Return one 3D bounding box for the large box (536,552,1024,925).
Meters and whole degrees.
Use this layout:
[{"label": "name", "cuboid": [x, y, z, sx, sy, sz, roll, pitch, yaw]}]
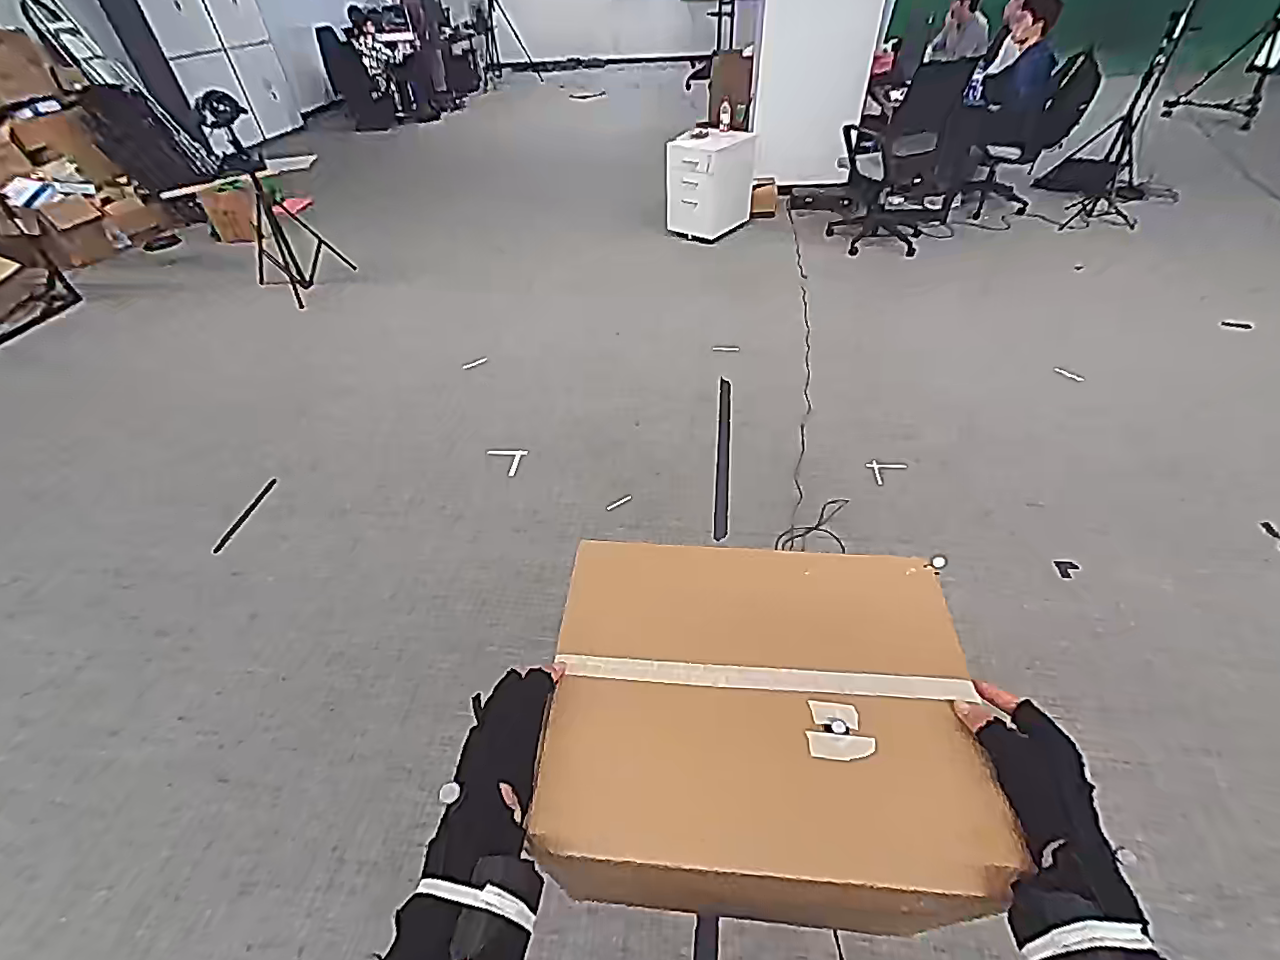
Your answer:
[{"label": "large box", "cuboid": [0.122, 0.307, 0.648, 0.408, 0.320, 0.320, 2, 47, 5]}]
